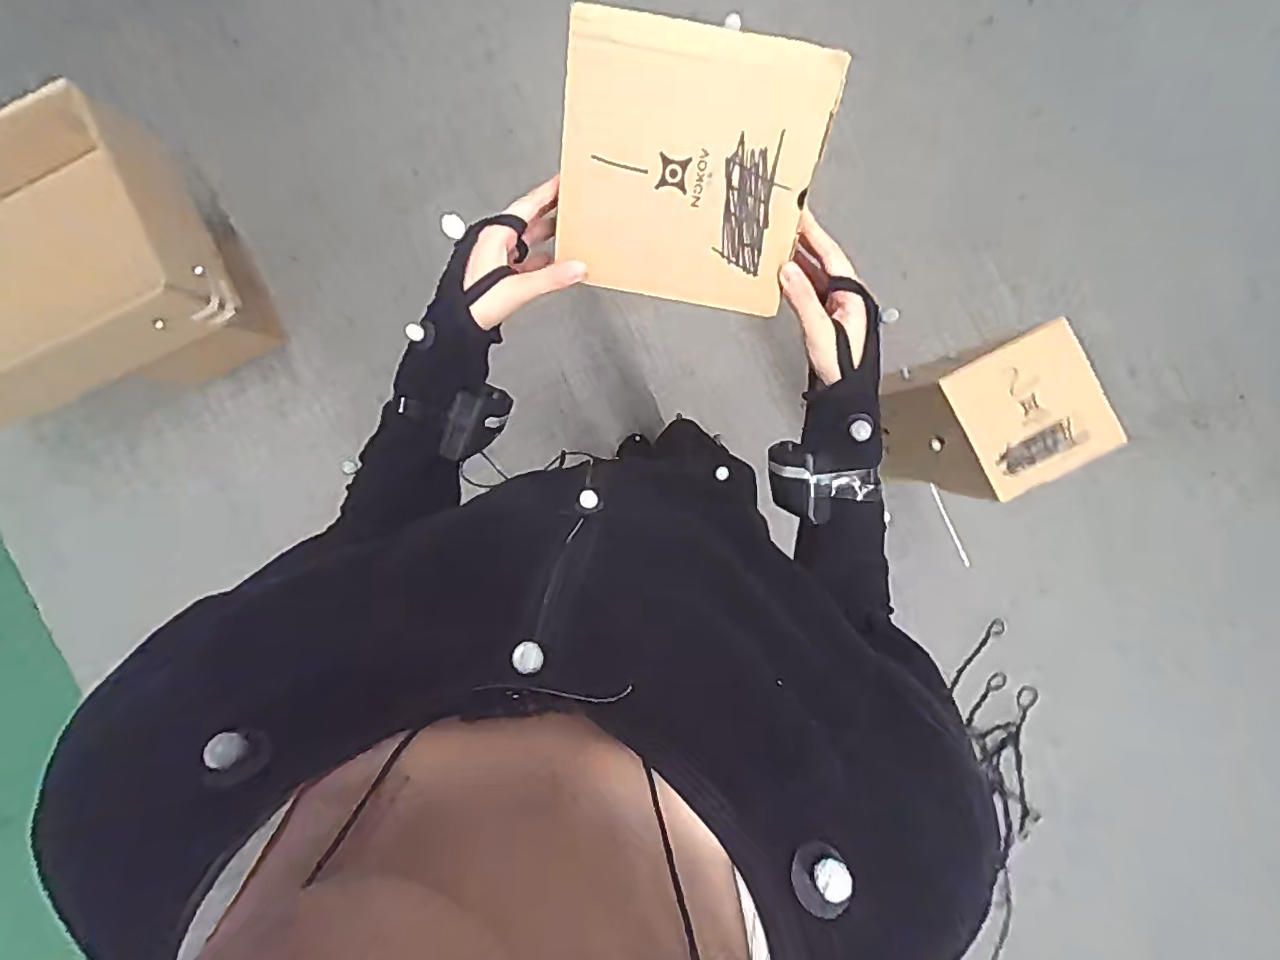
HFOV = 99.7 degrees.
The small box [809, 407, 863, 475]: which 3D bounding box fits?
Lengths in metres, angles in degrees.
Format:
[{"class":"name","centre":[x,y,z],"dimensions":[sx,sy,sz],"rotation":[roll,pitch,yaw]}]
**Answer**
[{"class":"small box","centre":[0.557,-0.125,1.386],"dimensions":[0.168,0.176,0.179],"rotation":[-25,92,4]}]

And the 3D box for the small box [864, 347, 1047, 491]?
[{"class":"small box","centre":[0.509,-0.098,0.899],"dimensions":[0.179,0.176,0.168],"rotation":[-27,91,6]}]

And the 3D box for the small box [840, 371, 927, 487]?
[{"class":"small box","centre":[0.524,-0.104,1.061],"dimensions":[0.168,0.176,0.179],"rotation":[-27,92,5]}]

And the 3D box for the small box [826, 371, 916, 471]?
[{"class":"small box","centre":[0.544,-0.125,1.222],"dimensions":[0.168,0.176,0.179],"rotation":[-25,92,5]}]
